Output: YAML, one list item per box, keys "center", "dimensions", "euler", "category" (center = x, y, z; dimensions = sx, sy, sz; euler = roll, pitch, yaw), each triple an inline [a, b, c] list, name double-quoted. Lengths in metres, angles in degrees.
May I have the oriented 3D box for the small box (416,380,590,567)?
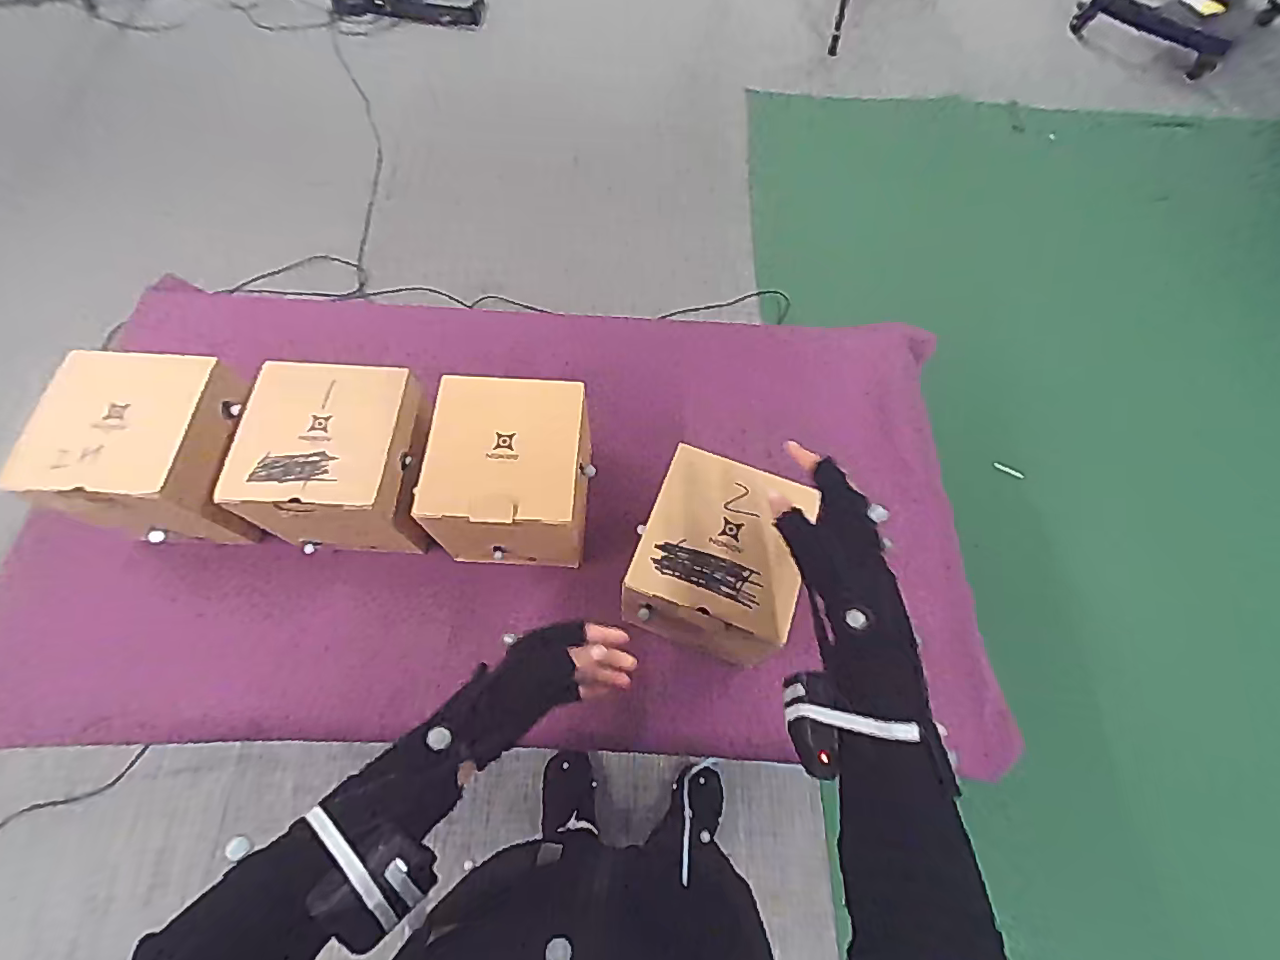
- center: [-0.152, -0.001, 0.670]
  dimensions: [0.168, 0.176, 0.179]
  euler: [2, 67, -1]
  category: "small box"

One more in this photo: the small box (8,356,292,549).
- center: [-0.566, -0.028, 0.661]
  dimensions: [0.168, 0.176, 0.179]
  euler: [2, 66, -1]
  category: "small box"
